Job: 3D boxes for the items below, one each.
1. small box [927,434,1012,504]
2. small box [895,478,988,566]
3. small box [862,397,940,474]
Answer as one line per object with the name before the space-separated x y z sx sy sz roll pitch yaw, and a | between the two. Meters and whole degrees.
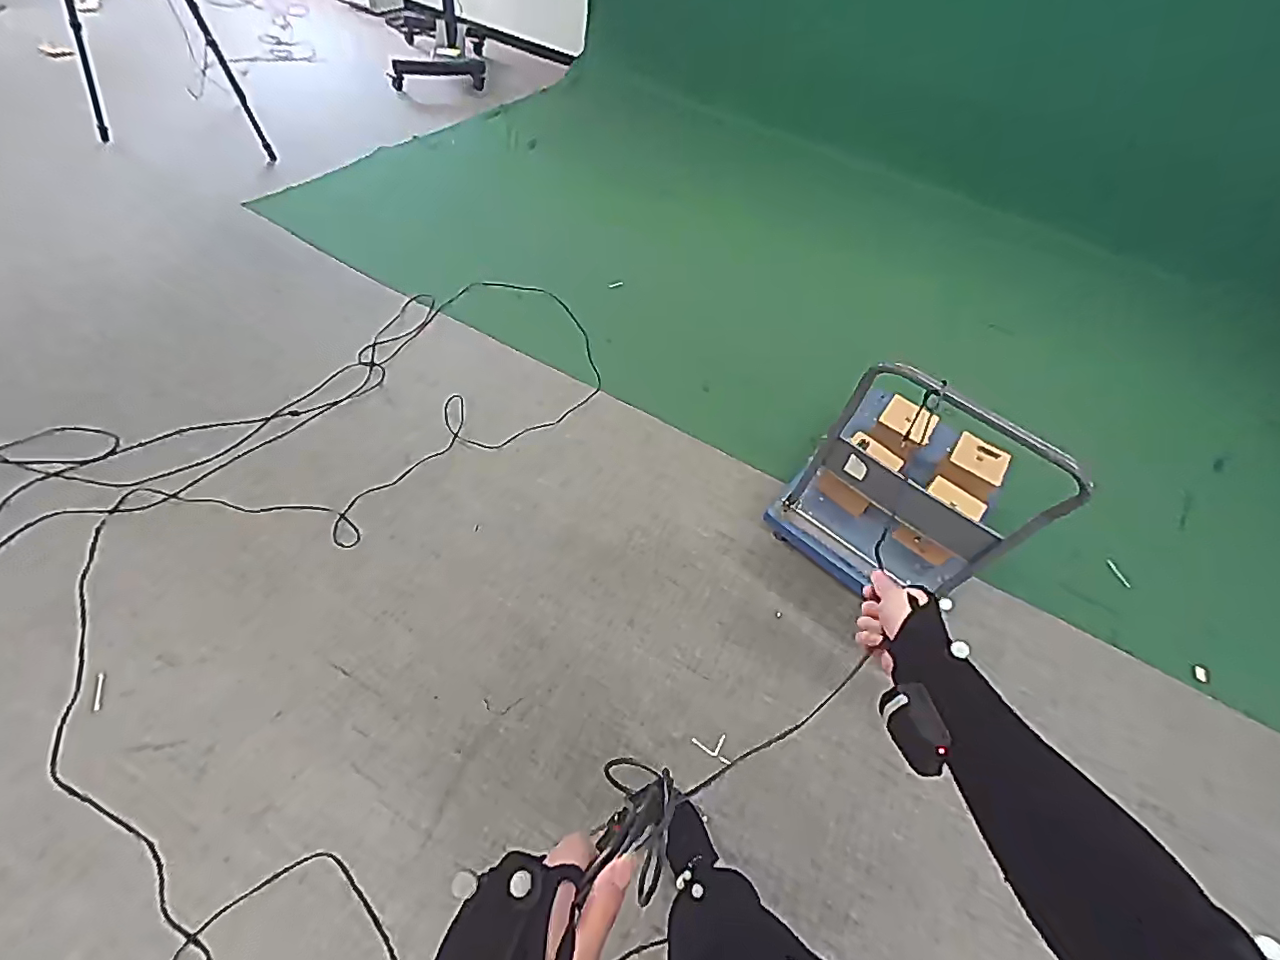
small box | 1.110 -0.018 1.830 0.168 0.176 0.179 34 56 17
small box | 0.935 0.134 1.689 0.168 0.176 0.179 38 57 19
small box | 0.910 -0.152 1.901 0.168 0.176 0.179 35 56 16
